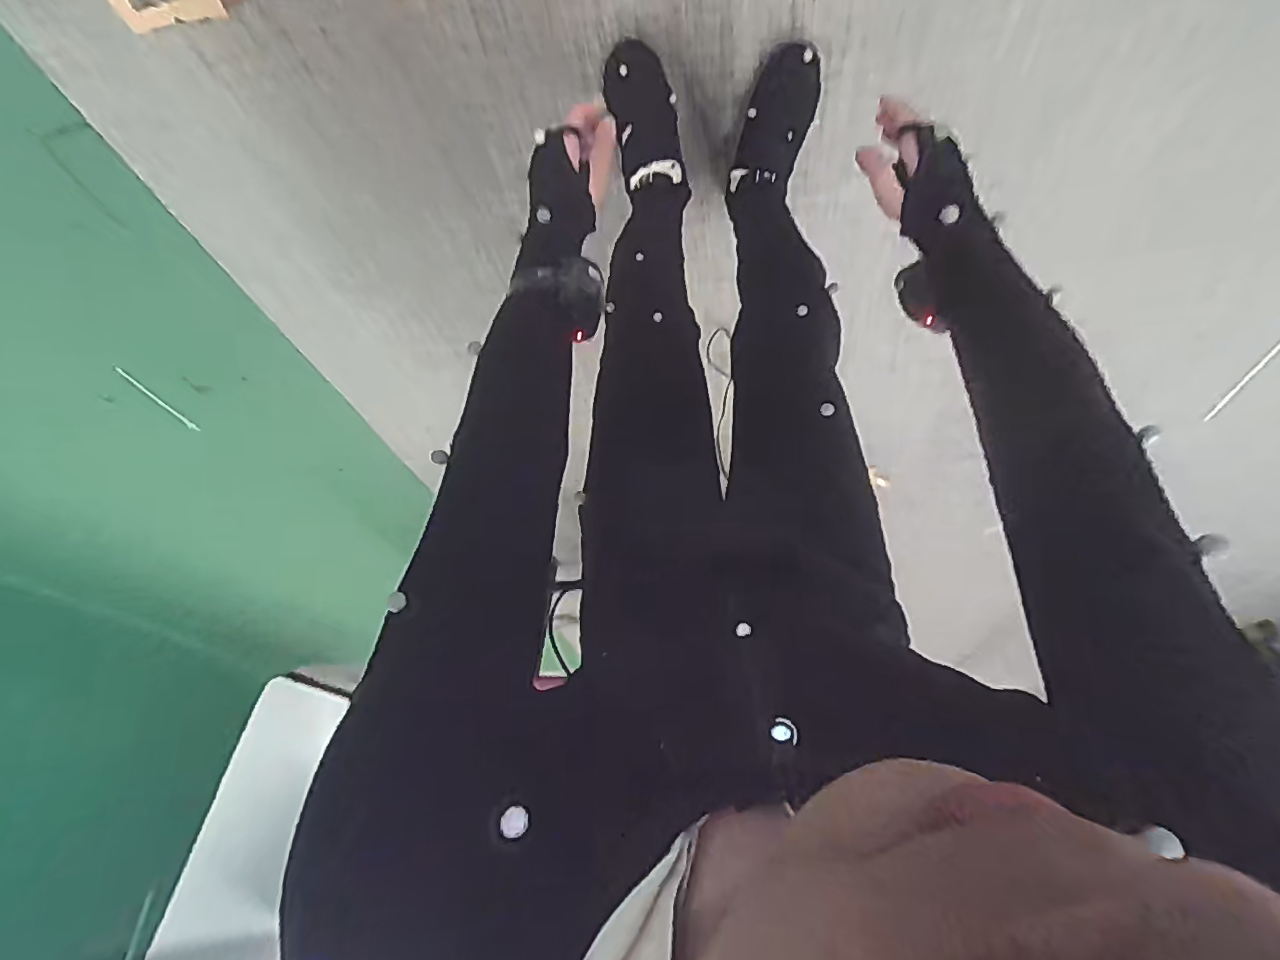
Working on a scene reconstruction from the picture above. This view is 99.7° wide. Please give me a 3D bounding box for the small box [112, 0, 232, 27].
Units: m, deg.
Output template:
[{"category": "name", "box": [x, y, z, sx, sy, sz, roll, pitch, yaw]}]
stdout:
[{"category": "small box", "box": [-0.658, -0.769, 0.740, 0.168, 0.176, 0.179, -2, 145, 9]}]
